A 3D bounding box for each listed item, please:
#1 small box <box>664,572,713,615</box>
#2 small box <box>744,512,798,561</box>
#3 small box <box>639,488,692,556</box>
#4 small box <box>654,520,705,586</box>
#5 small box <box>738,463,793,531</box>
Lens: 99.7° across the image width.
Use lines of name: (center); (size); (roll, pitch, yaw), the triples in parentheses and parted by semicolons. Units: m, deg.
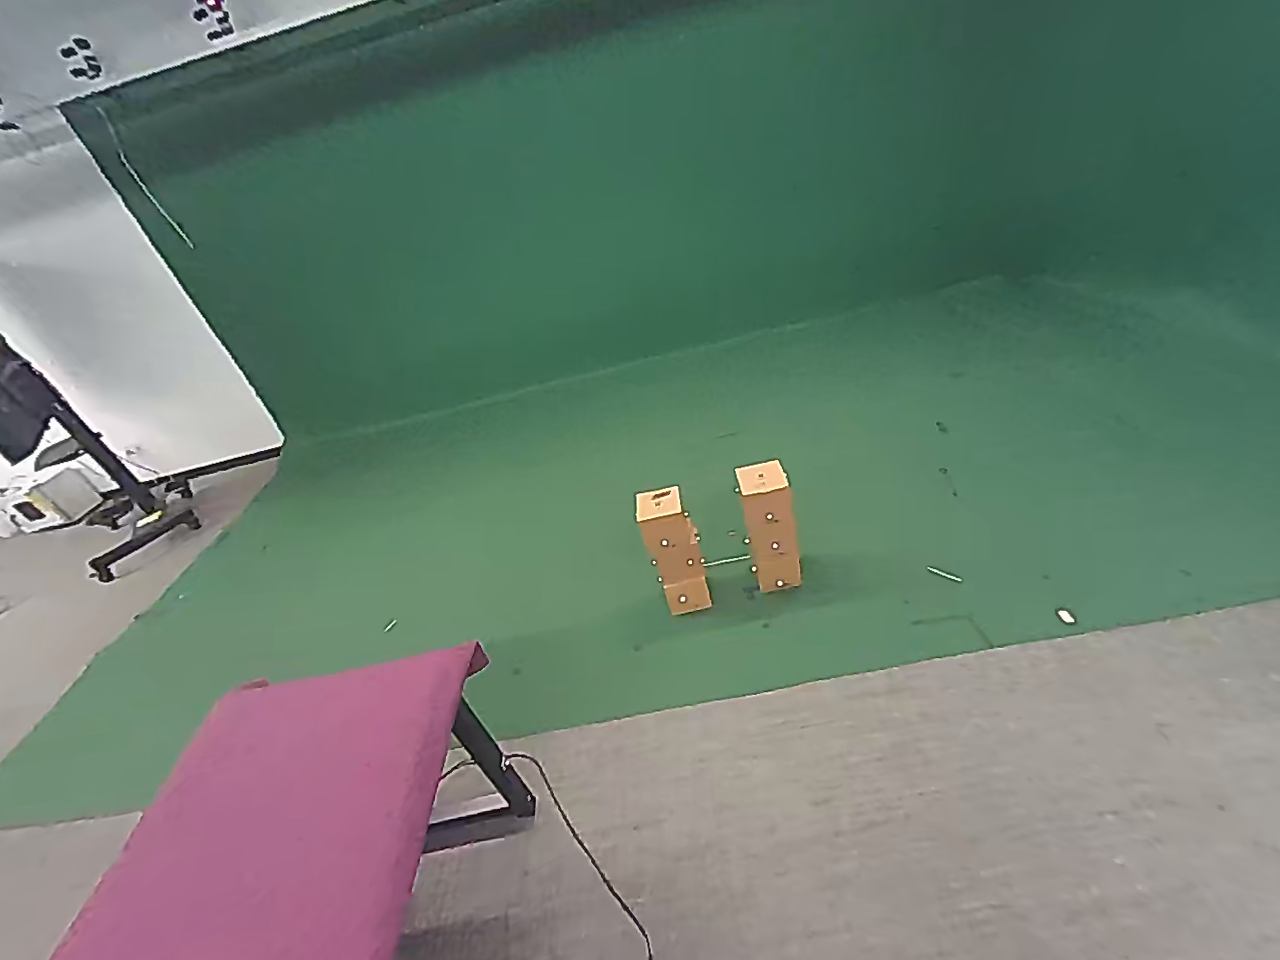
small box: (0.191, 0.428, 2.195); (0.168, 0.176, 0.179); (-15, 32, 4)
small box: (0.507, 0.196, 2.095); (0.168, 0.176, 0.179); (-12, 35, 6)
small box: (0.094, 0.160, 2.035); (0.168, 0.176, 0.179); (-13, 32, 7)
small box: (0.150, 0.289, 2.120); (0.179, 0.176, 0.168); (-15, 32, 4)
small box: (0.464, 0.064, 2.006); (0.168, 0.176, 0.179); (-12, 34, 7)
